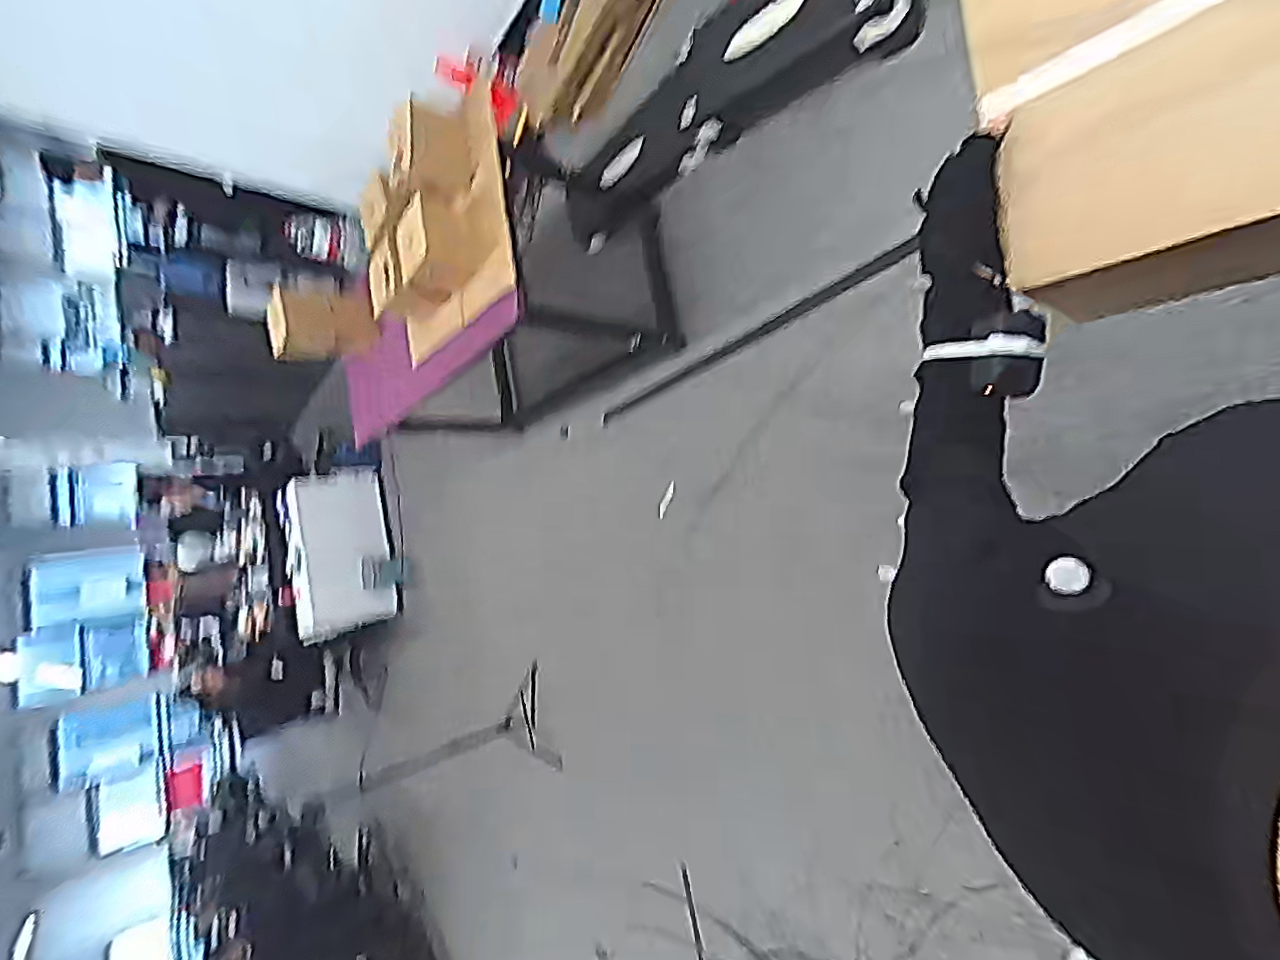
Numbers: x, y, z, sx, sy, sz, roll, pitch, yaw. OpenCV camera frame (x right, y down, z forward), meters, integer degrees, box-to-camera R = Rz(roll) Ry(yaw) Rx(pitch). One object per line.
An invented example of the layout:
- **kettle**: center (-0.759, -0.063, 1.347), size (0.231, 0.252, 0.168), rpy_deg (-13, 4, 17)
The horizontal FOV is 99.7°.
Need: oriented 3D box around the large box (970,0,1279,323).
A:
- **large box**: center (0.544, -0.350, 0.428), size (0.408, 0.320, 0.320), rpy_deg (-8, 90, 46)
